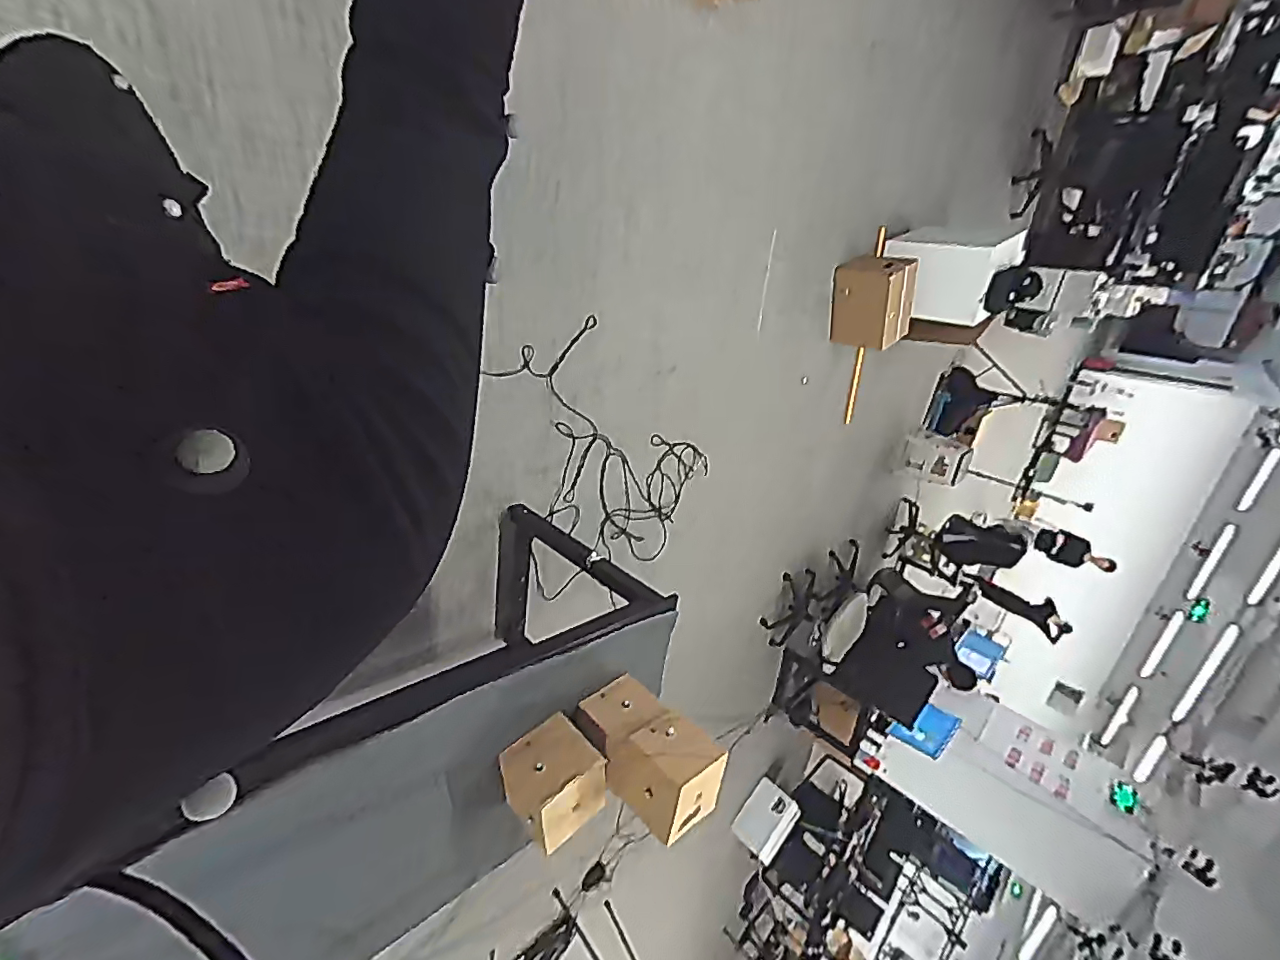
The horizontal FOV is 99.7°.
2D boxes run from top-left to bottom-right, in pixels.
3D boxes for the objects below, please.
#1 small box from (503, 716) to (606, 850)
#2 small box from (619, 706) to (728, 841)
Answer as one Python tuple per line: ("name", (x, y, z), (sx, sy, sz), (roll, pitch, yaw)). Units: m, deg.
("small box", (-0.193, 0.666, 1.218), (0.168, 0.176, 0.179), (-24, 127, -37))
("small box", (0.071, 0.664, 1.244), (0.168, 0.176, 0.179), (-9, 116, -44))
